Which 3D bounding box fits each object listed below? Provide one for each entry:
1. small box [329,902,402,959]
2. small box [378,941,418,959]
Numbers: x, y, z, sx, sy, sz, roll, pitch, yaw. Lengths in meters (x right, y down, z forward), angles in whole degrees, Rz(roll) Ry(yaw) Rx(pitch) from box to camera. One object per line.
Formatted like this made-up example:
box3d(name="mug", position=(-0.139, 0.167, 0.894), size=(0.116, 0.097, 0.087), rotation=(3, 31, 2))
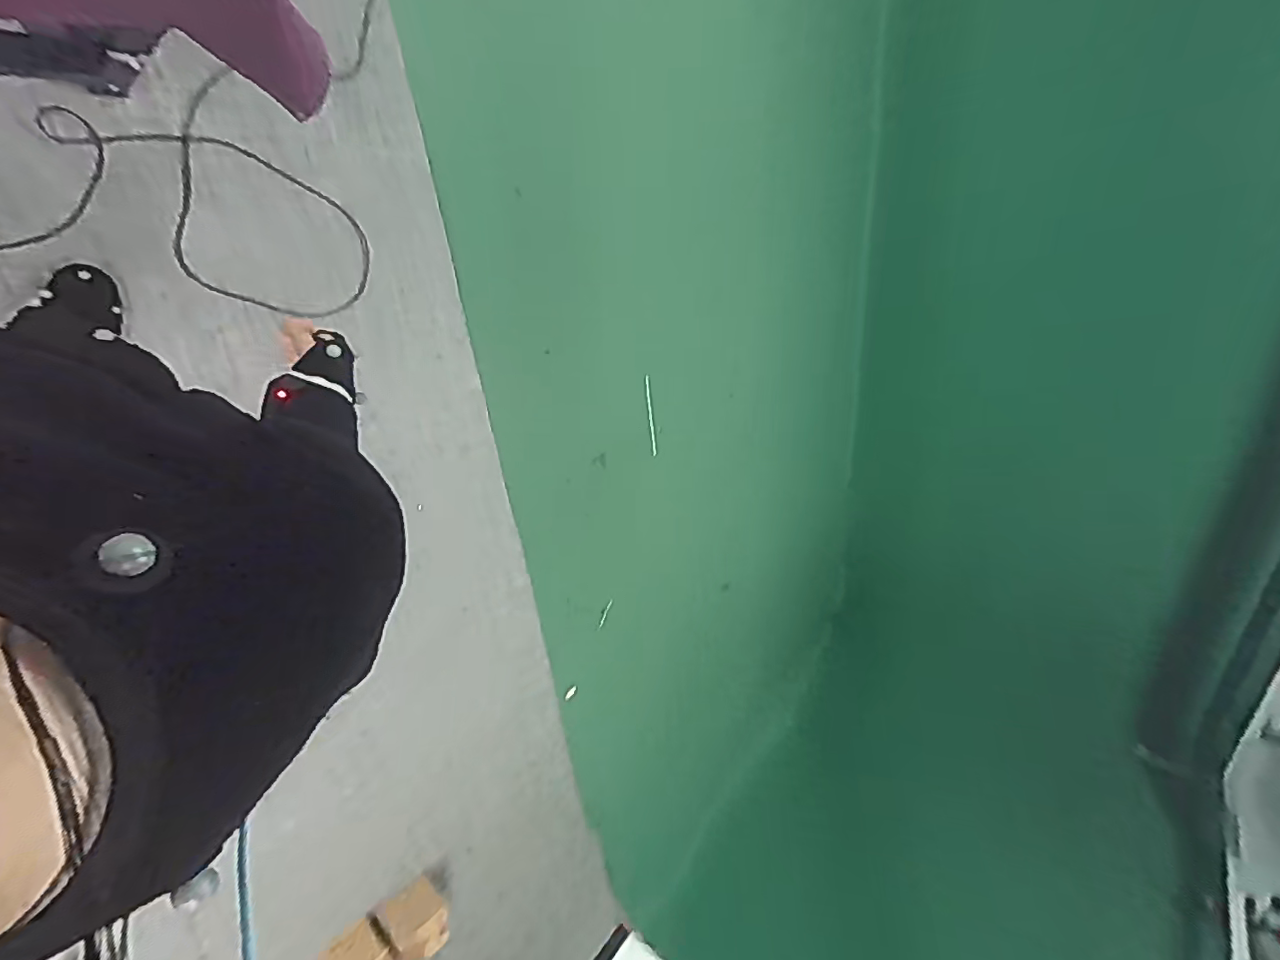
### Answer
box3d(name="small box", position=(-0.886, 1.553, 1.777), size=(0.168, 0.176, 0.179), rotation=(-31, 123, -40))
box3d(name="small box", position=(-0.762, 1.598, 1.678), size=(0.168, 0.176, 0.179), rotation=(-24, 119, -43))
